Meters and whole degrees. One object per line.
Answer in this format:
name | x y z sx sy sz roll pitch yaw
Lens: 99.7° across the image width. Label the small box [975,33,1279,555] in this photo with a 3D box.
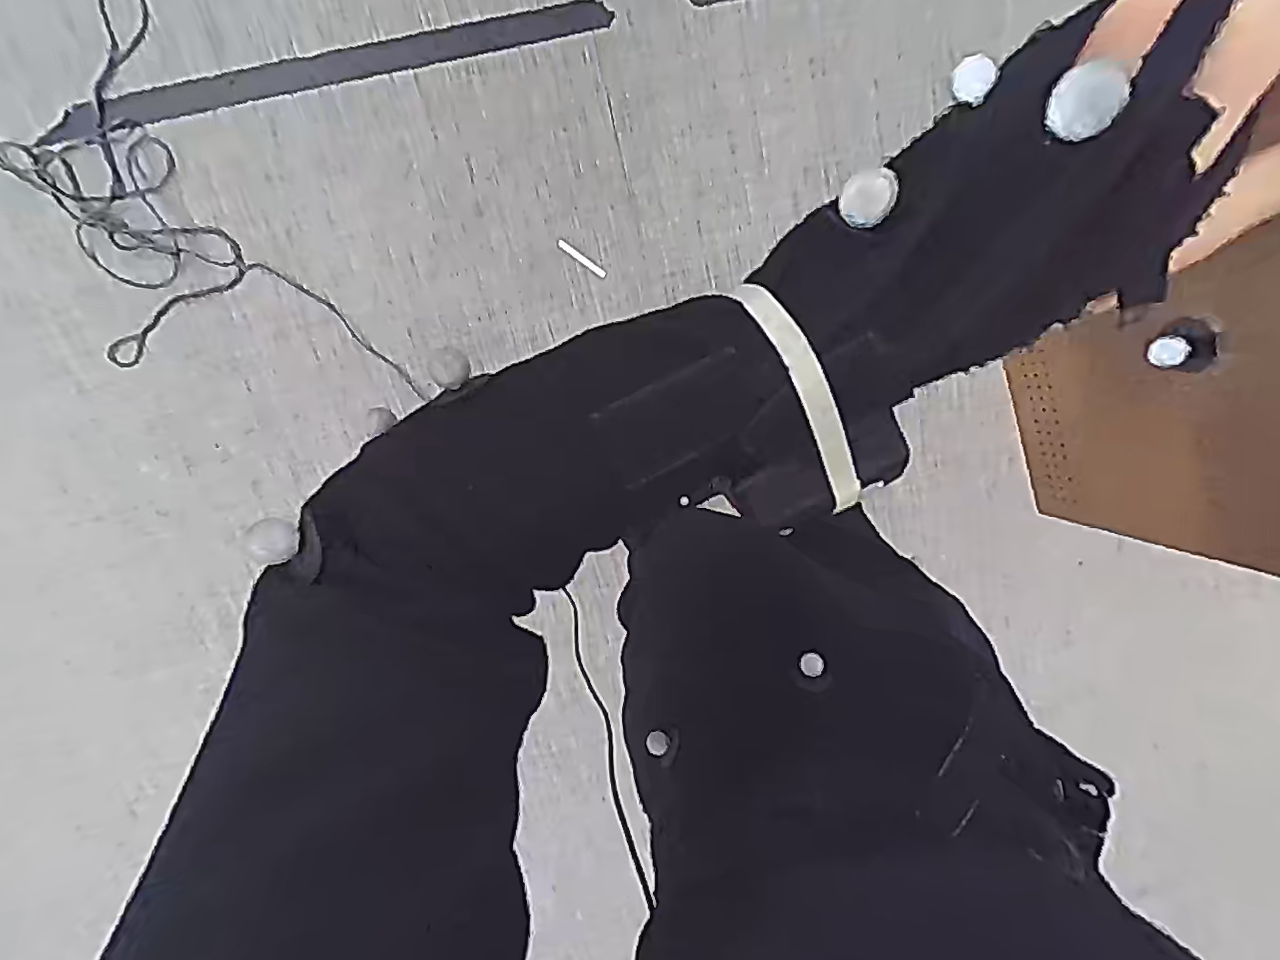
small box | 0.278 -0.080 0.213 0.168 0.176 0.179 -22 99 -3
